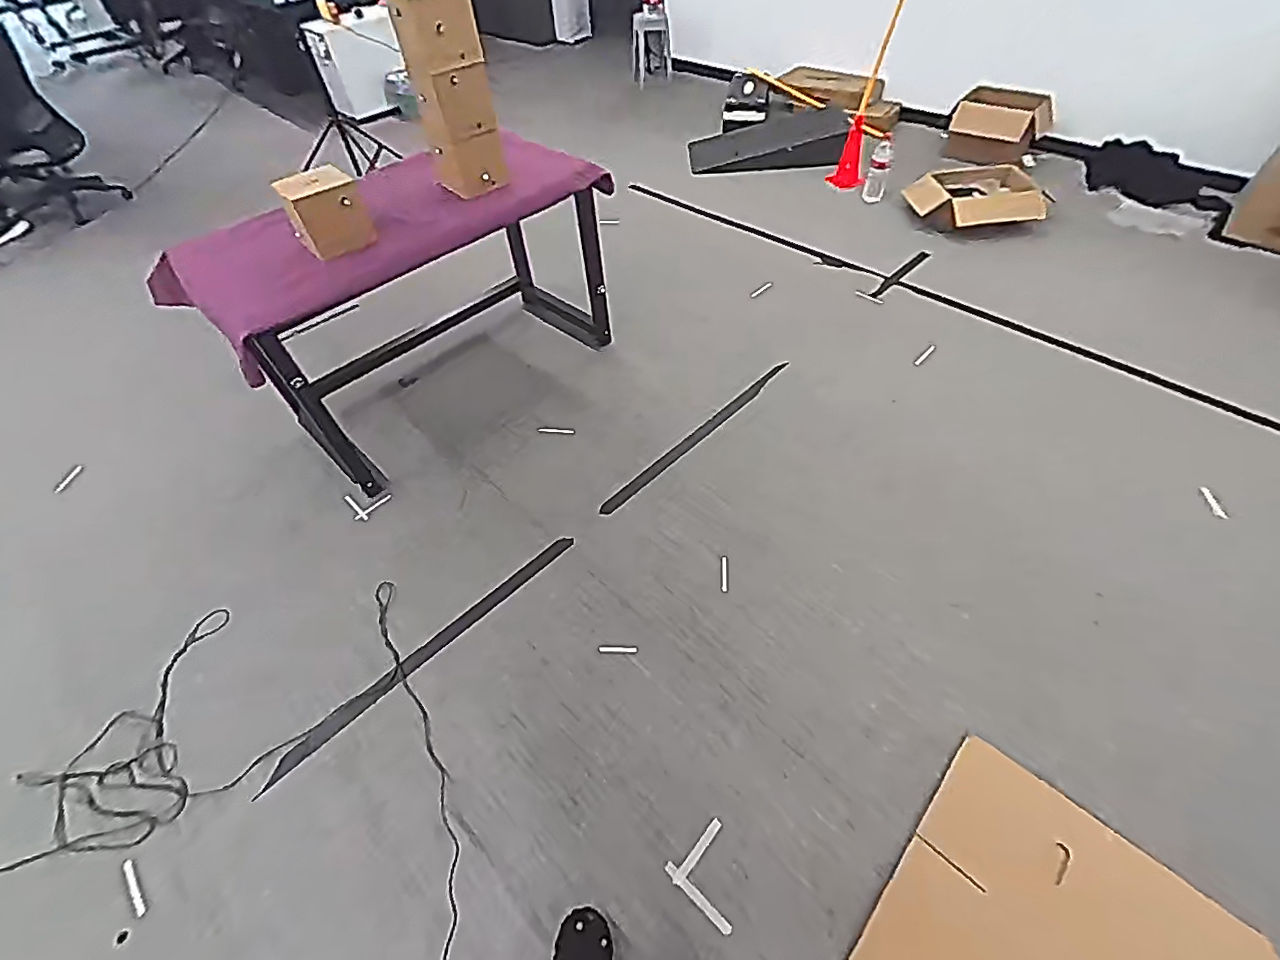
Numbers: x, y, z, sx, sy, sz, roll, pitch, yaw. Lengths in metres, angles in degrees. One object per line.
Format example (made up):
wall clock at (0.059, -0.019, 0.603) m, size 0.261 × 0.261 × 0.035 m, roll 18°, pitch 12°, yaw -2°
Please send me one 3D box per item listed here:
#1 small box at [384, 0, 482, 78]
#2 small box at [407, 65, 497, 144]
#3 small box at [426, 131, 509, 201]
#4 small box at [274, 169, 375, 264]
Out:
small box at (-0.559, -1.223, 1.477) m, size 0.168 × 0.176 × 0.179 m, roll -35°, pitch 56°, yaw -21°
small box at (-0.555, -1.124, 1.607) m, size 0.168 × 0.176 × 0.179 m, roll -35°, pitch 56°, yaw -21°
small box at (-0.548, -1.024, 1.736) m, size 0.168 × 0.176 × 0.179 m, roll -37°, pitch 58°, yaw -23°
small box at (-0.884, -0.748, 1.537) m, size 0.179 × 0.176 × 0.168 m, roll -36°, pitch 57°, yaw -23°
